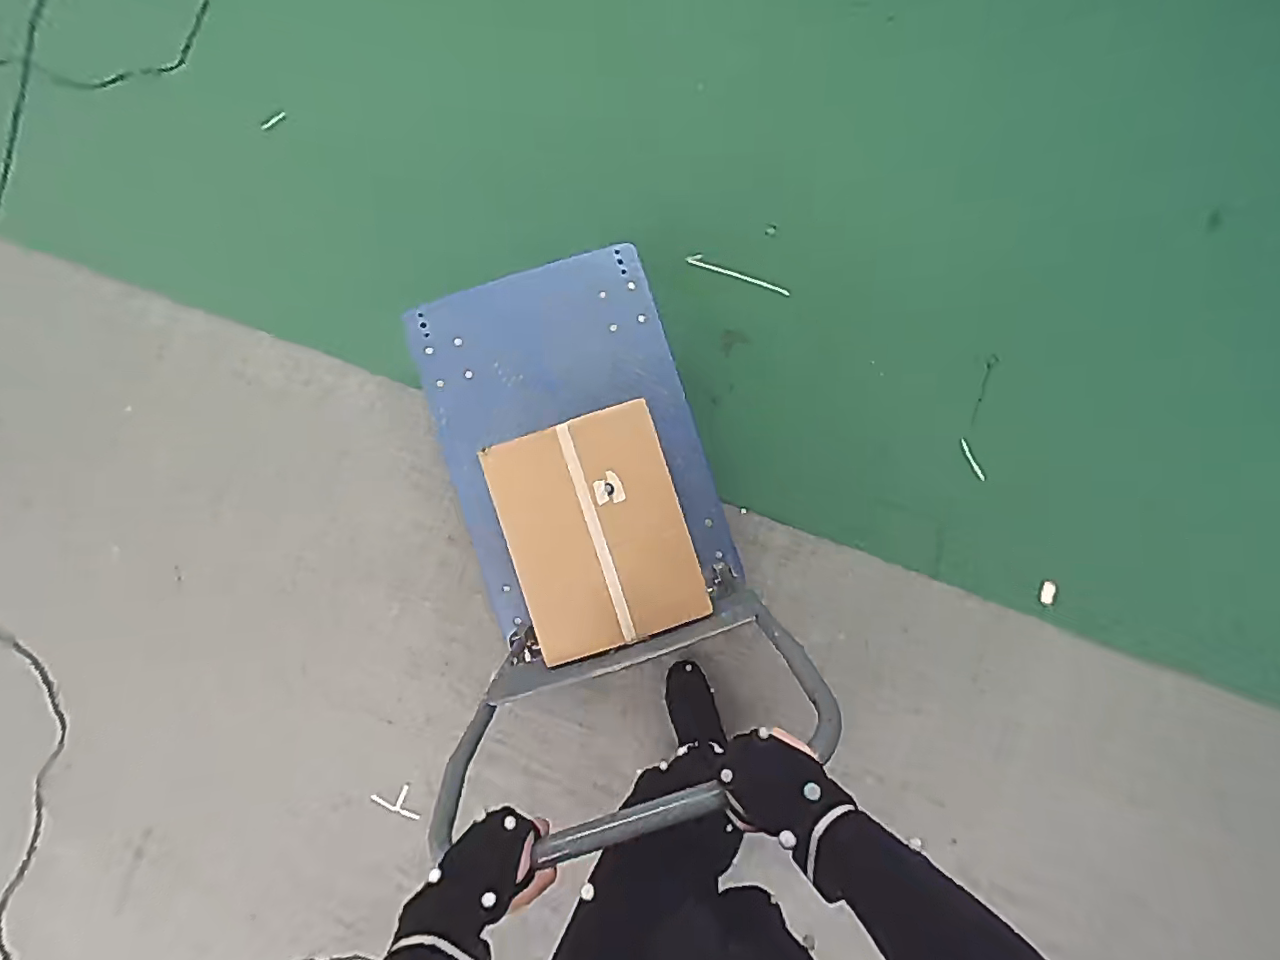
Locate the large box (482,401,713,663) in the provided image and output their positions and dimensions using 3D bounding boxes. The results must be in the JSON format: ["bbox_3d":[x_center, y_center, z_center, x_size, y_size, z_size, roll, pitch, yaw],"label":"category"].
[{"bbox_3d":[-0.076,0.096,1.109,0.320,0.320,0.408,-18,89,-1],"label":"large box"}]
